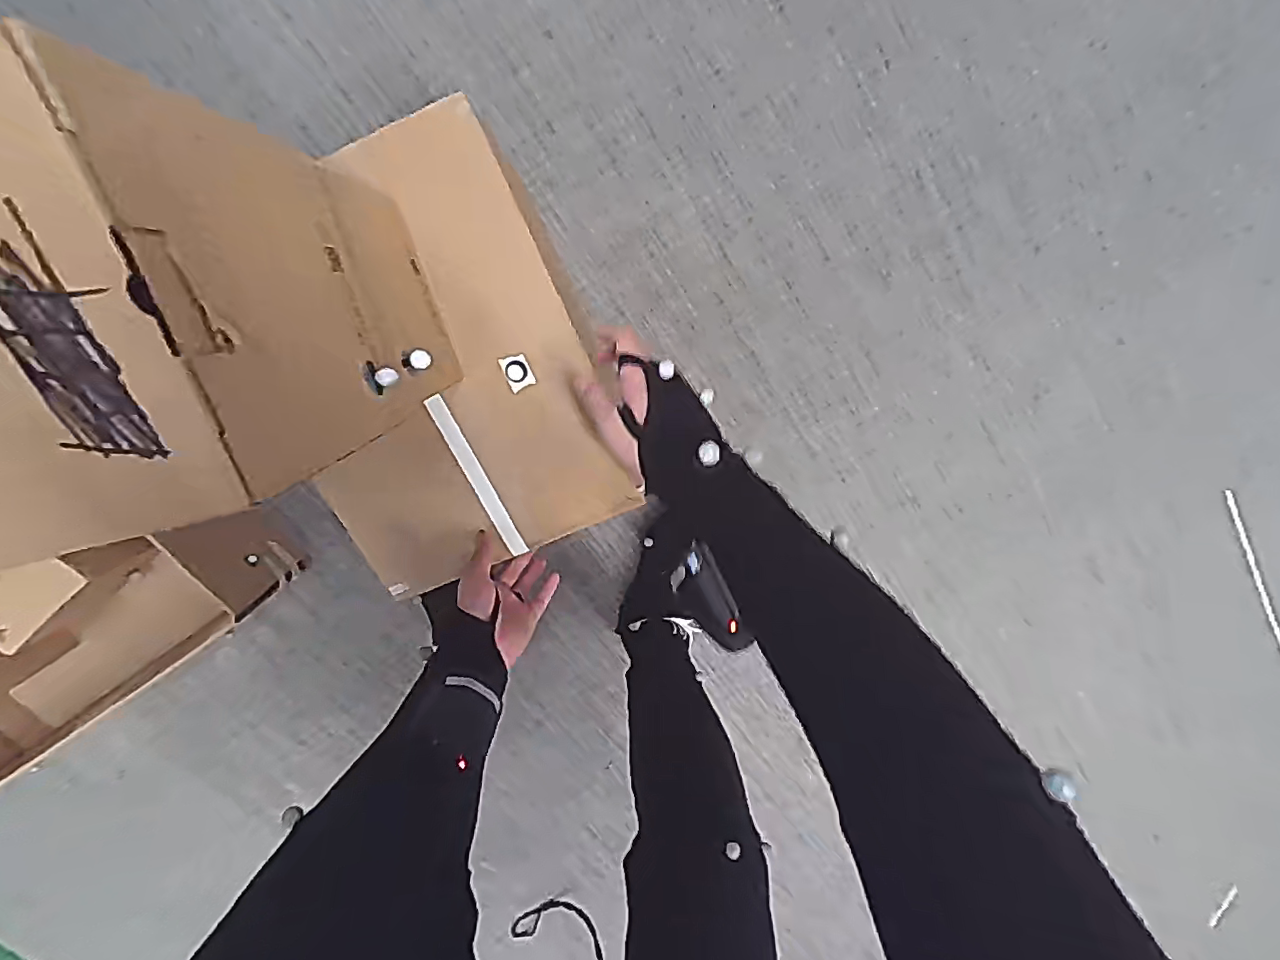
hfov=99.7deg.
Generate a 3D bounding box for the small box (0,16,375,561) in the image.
[{"bbox_3d":[-0.258,-0.072,0.260,0.179,0.176,0.168,-13,108,3],"label":"small box"}]
